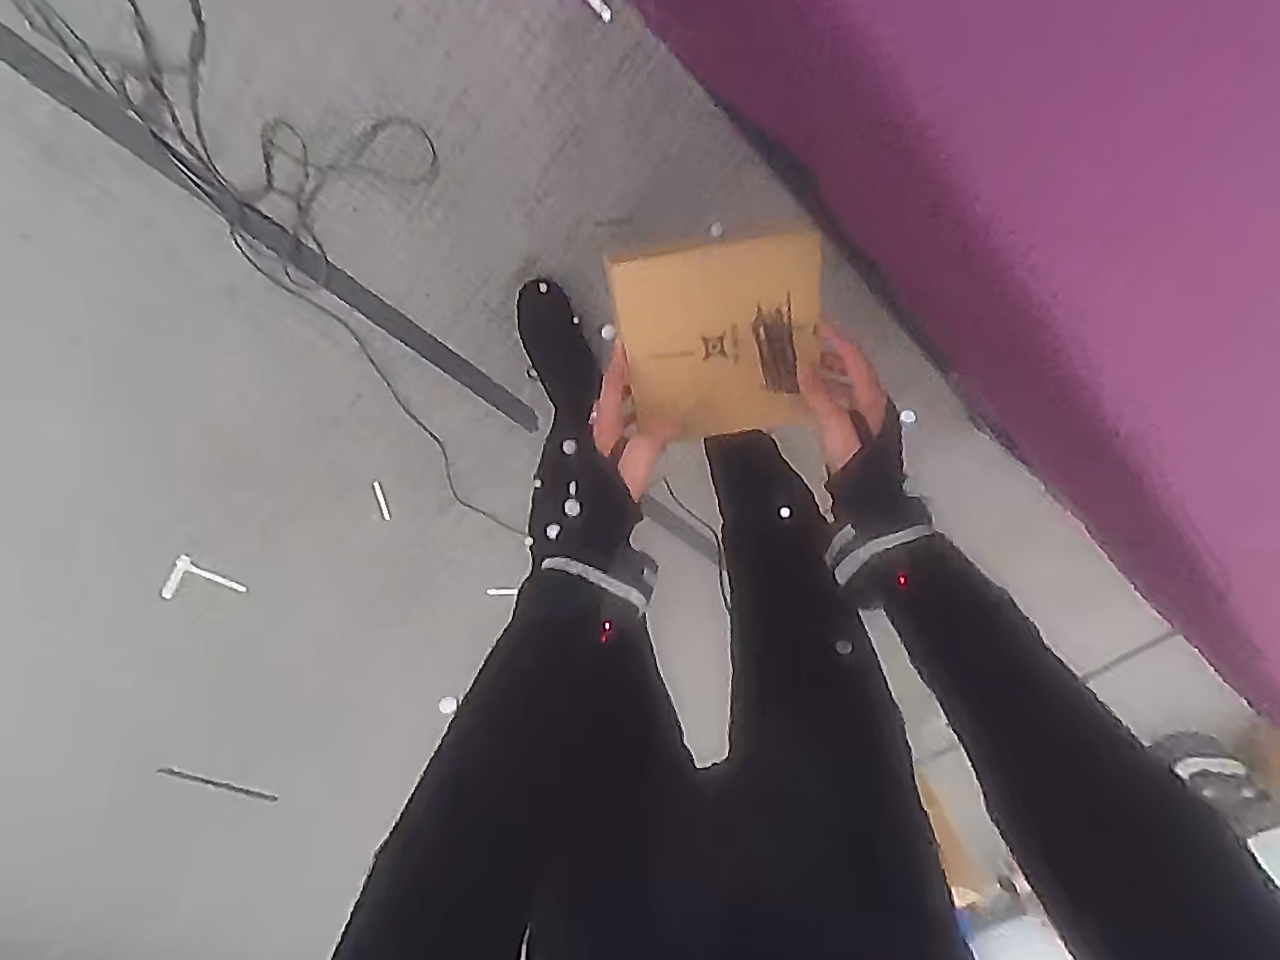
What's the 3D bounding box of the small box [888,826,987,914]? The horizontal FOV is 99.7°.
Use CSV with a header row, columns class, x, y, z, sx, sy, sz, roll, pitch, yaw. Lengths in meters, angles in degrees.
class,x,y,z,sx,sy,sz,roll,pitch,yaw
small box,0.894,1.177,1.636,0.179,0.176,0.168,36,116,-25
